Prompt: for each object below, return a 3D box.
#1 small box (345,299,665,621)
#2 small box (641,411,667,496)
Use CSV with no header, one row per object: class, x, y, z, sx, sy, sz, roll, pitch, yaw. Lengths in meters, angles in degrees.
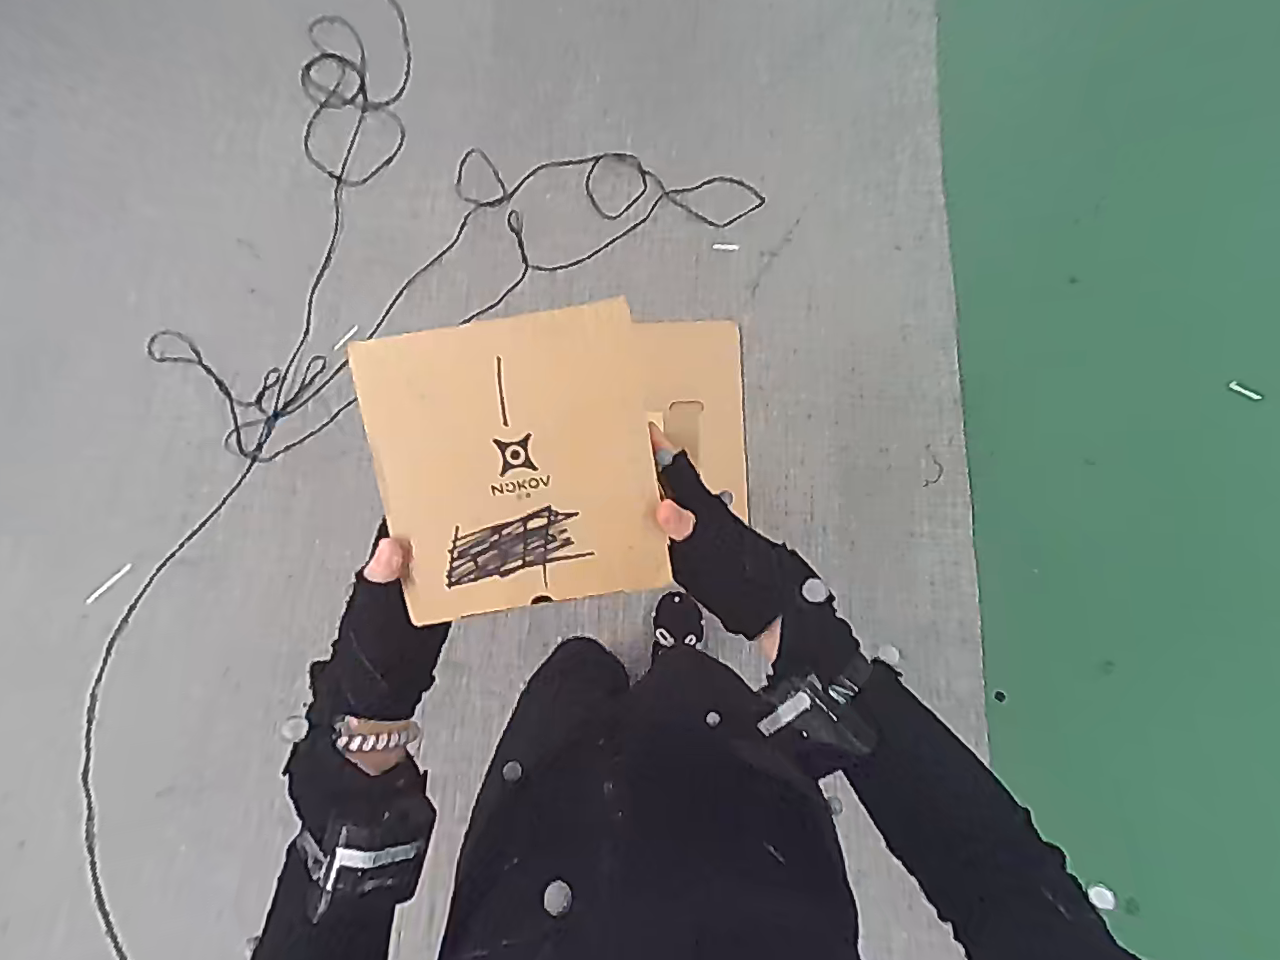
small box,-0.078,-0.021,0.403,0.168,0.176,0.179,-10,99,0
small box,-0.021,-0.059,1.317,0.168,0.176,0.179,-2,80,2
